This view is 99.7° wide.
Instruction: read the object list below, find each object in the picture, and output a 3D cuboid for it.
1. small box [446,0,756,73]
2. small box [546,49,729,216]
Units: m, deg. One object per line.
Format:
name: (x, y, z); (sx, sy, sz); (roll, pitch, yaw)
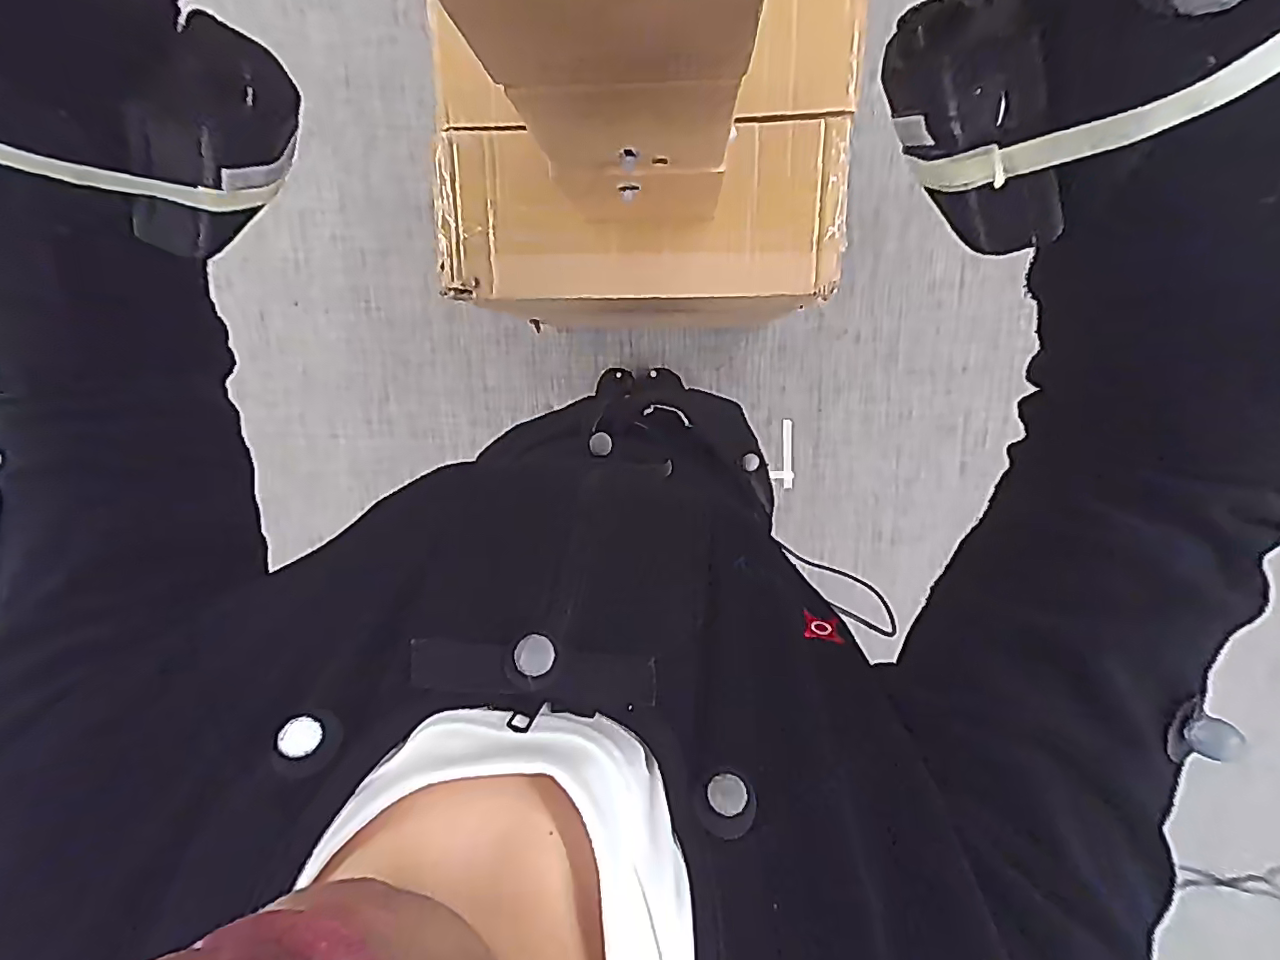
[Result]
small box: (-0.019, -0.333, 0.265); (0.179, 0.176, 0.168); (1, 103, 4)
small box: (0.002, -0.396, 0.588); (0.179, 0.176, 0.168); (1, 102, 3)
